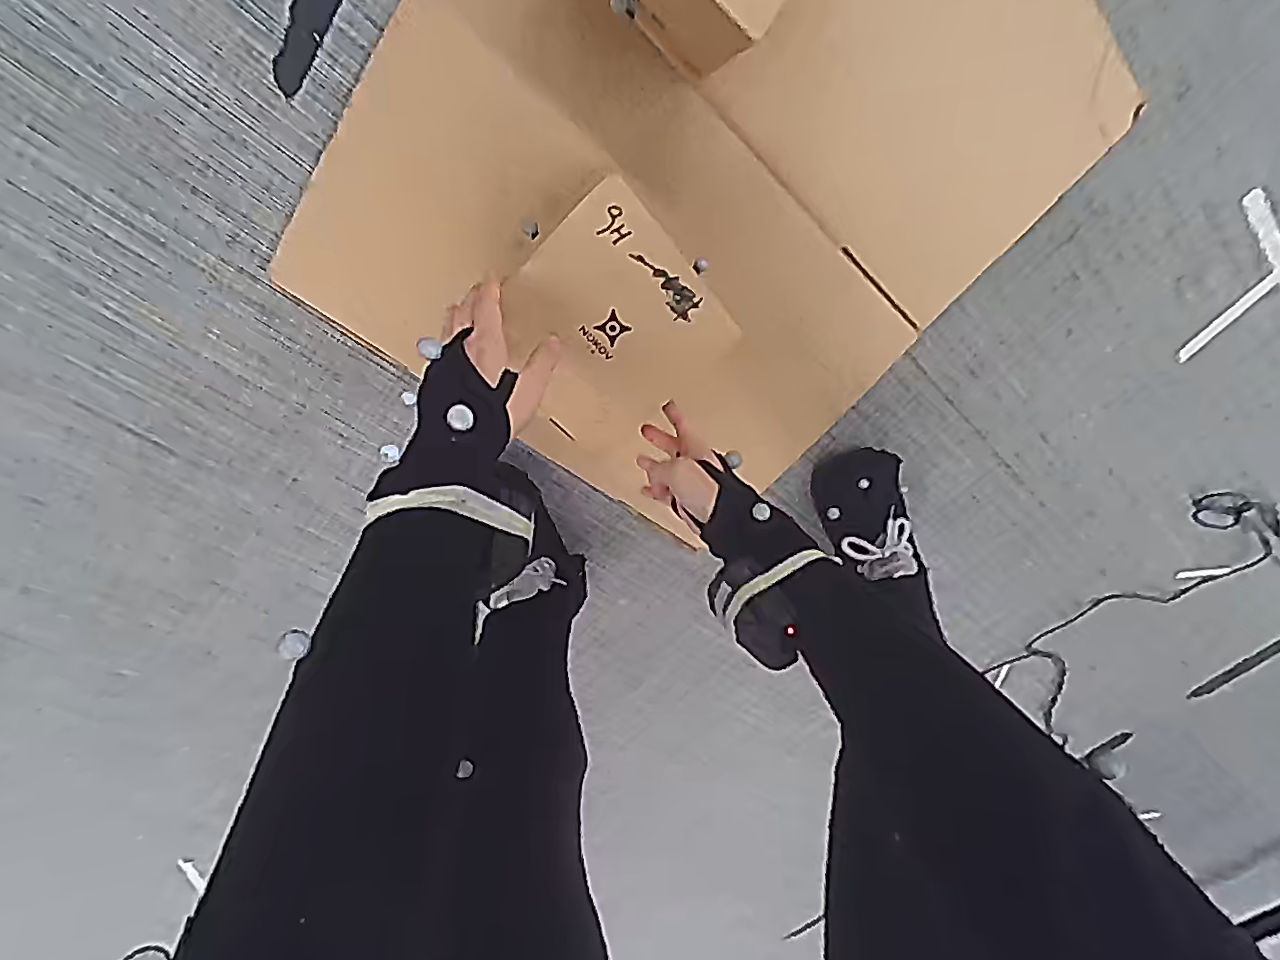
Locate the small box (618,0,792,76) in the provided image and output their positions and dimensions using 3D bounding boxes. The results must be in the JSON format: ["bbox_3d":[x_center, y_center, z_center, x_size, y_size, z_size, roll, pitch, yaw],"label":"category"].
[{"bbox_3d":[0.055,-0.428,0.372,0.168,0.176,0.179,30,112,-22],"label":"small box"}]

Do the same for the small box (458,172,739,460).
[{"bbox_3d":[-0.037,-0.158,0.511,0.179,0.176,0.168,-39,118,16],"label":"small box"}]
